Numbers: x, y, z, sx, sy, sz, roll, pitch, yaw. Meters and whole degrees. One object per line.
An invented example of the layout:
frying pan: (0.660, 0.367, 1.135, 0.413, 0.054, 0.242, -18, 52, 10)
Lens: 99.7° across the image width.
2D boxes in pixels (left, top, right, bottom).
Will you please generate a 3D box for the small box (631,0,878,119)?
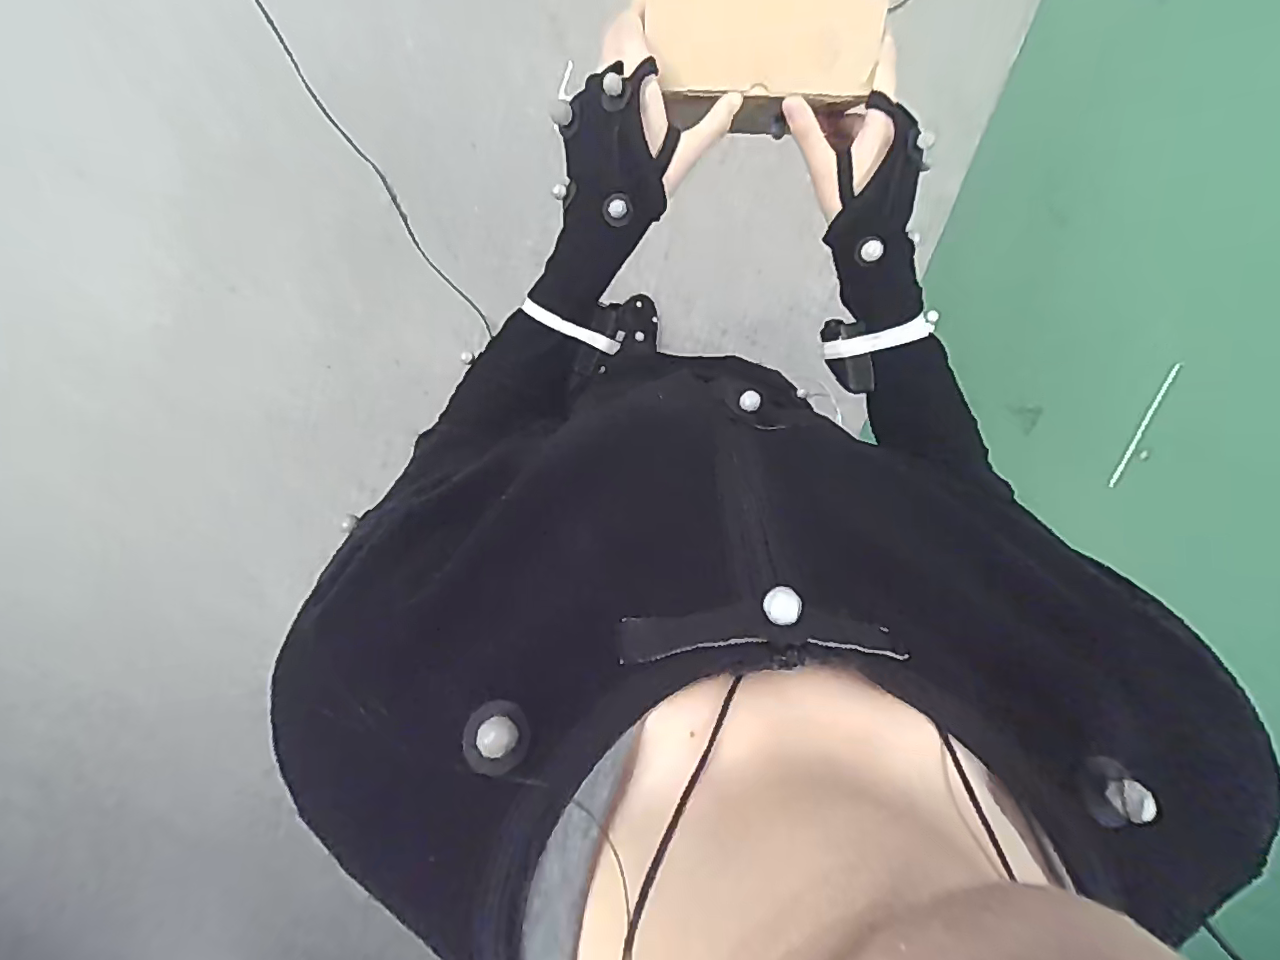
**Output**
small box: (0.079, -0.395, 0.417, 0.168, 0.176, 0.179, 1, 115, -3)
